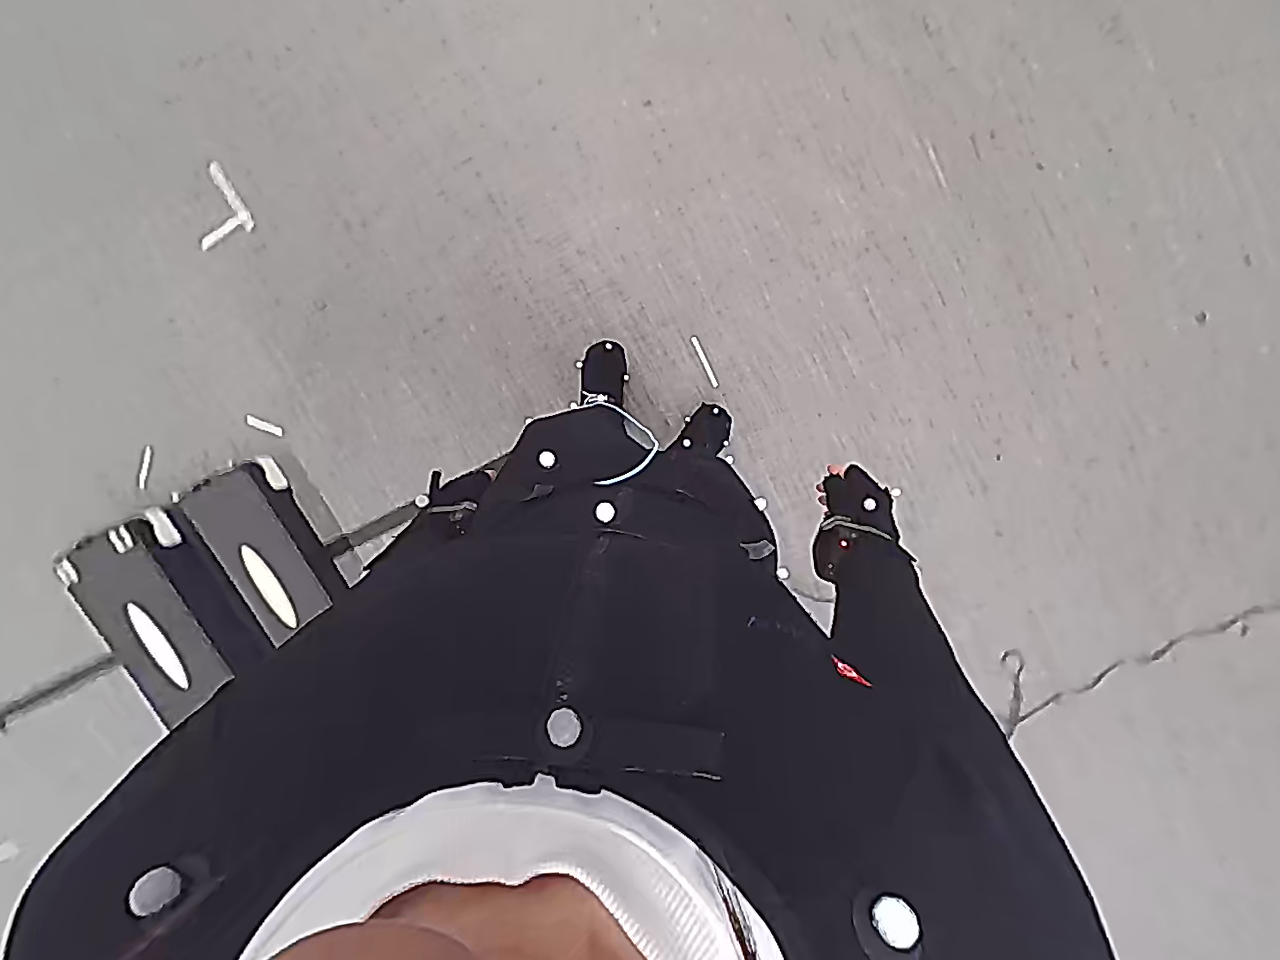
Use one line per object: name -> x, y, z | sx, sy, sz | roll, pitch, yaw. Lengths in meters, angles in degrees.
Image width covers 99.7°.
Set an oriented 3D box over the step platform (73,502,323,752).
step platform -> -1.230, 0.417, 1.529 | 0.286, 0.204, 0.684 | -27, 97, 8
